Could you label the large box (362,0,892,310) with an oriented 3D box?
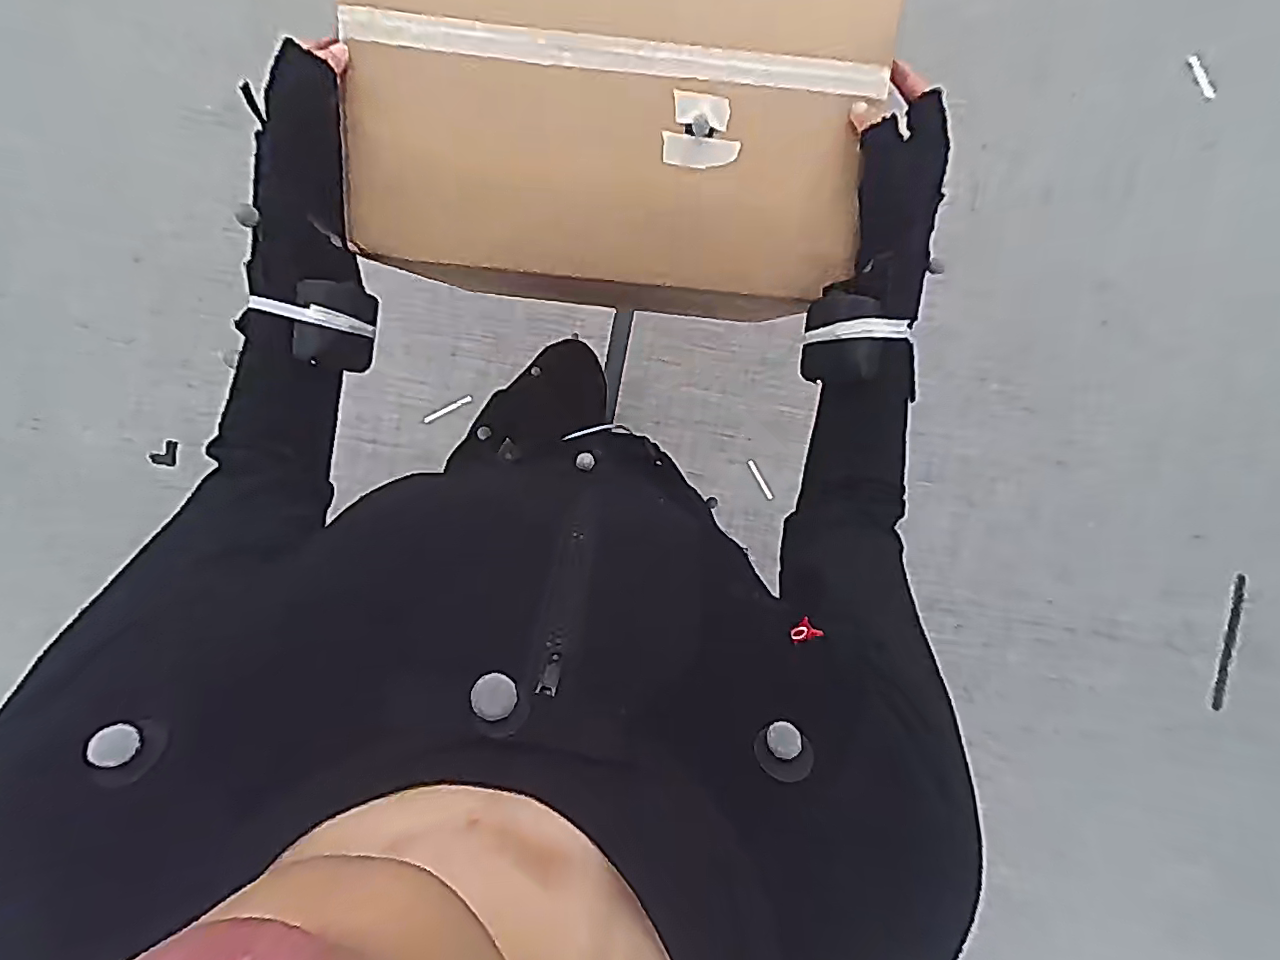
[{"bbox_3d":[-0.016,-0.360,0.559,0.408,0.320,0.320,5,105,-2],"label":"large box"}]
